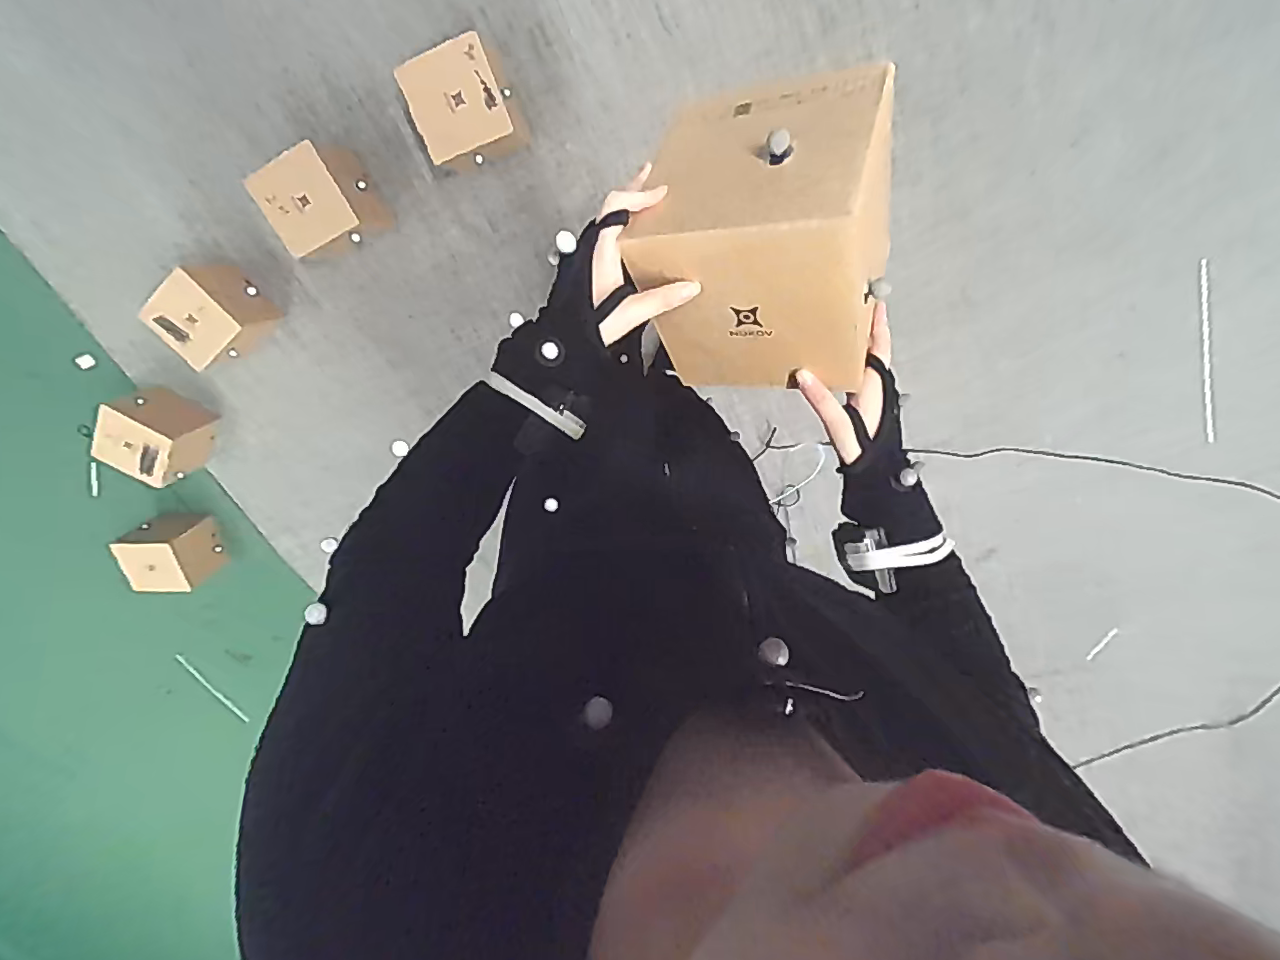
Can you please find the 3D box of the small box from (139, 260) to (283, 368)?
[{"bbox_3d":[-0.997,-0.394,1.274,0.179,0.176,0.168,-34,110,16],"label":"small box"}]

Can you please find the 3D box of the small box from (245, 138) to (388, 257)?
[{"bbox_3d":[-0.675,-0.600,1.161,0.179,0.176,0.168,-21,112,12],"label":"small box"}]

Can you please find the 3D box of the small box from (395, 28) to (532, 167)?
[{"bbox_3d":[-0.340,-0.744,1.077,0.179,0.176,0.168,-16,114,11],"label":"small box"}]

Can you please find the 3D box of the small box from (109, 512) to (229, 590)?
[{"bbox_3d":[-1.367,0.202,1.583,0.179,0.176,0.168,0,116,2],"label":"small box"}]
